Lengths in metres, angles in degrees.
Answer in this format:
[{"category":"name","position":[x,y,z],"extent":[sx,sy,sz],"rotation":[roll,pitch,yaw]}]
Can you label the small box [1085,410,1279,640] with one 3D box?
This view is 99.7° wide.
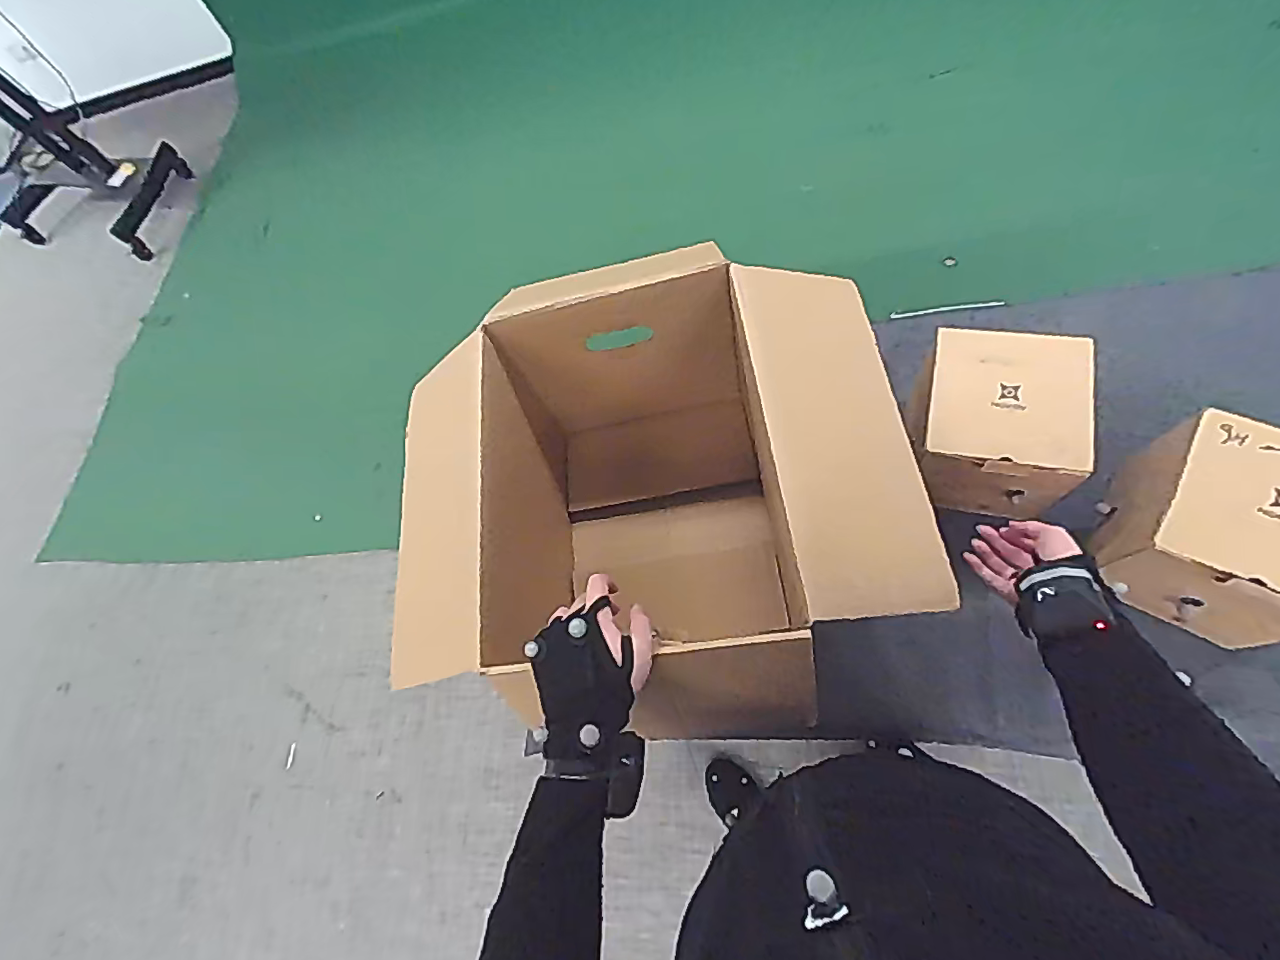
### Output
[{"category":"small box","position":[0.645,0.059,0.599],"extent":[0.168,0.176,0.179],"rotation":[28,79,22]}]
